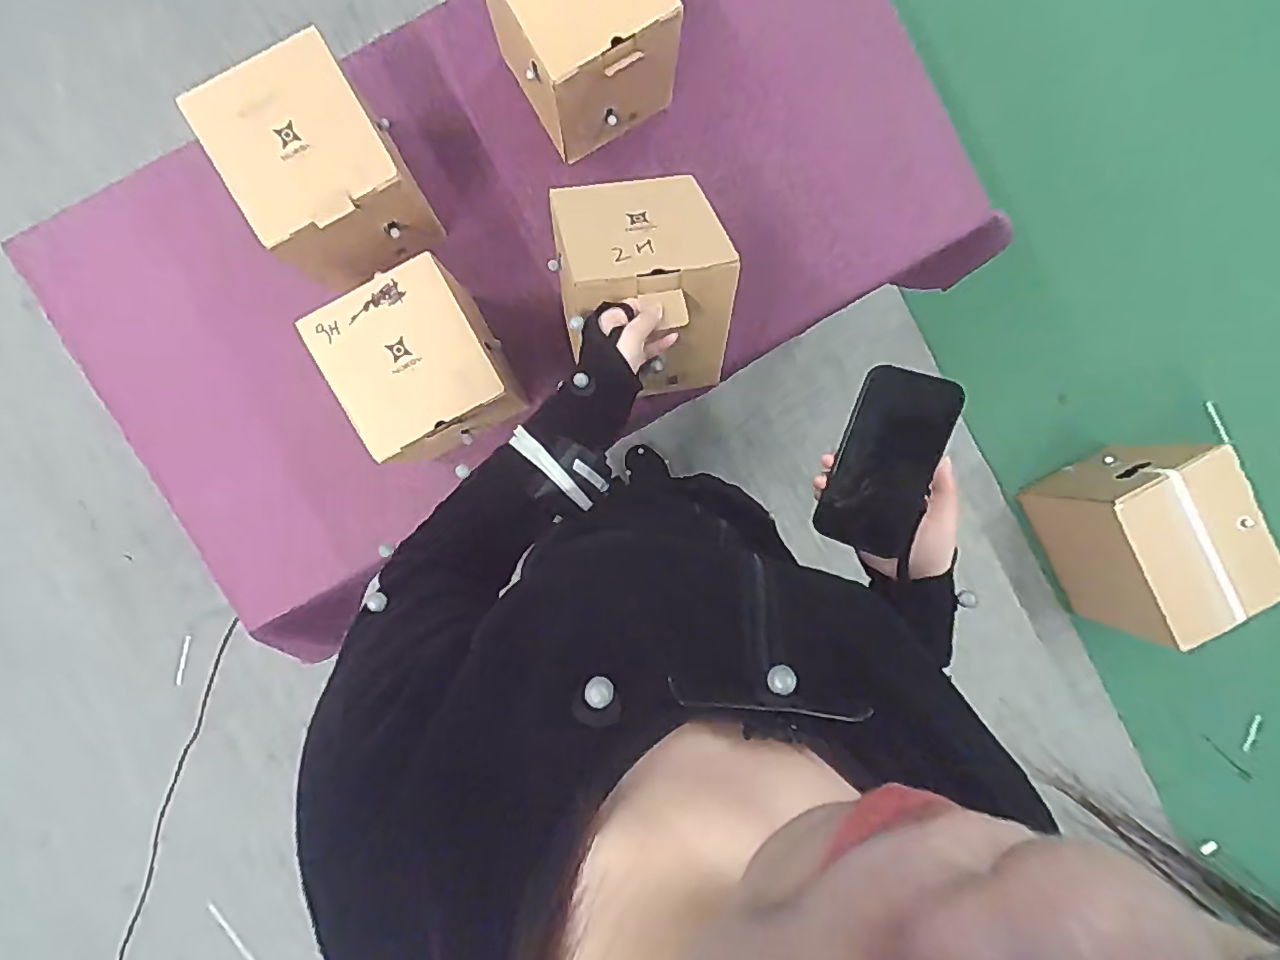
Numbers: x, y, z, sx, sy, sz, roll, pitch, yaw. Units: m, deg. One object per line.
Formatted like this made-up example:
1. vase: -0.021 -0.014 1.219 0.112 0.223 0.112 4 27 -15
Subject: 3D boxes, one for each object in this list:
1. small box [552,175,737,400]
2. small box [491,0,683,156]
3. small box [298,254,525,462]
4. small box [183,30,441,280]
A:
1. small box: -0.002 -0.219 0.627 0.168 0.176 0.179 -11 57 -7
2. small box: -0.070 -0.544 0.651 0.168 0.176 0.179 -31 95 0
3. small box: -0.260 -0.138 0.666 0.168 0.176 0.179 -29 94 -1
4. small box: -0.370 -0.364 0.650 0.168 0.176 0.179 -29 94 -1
